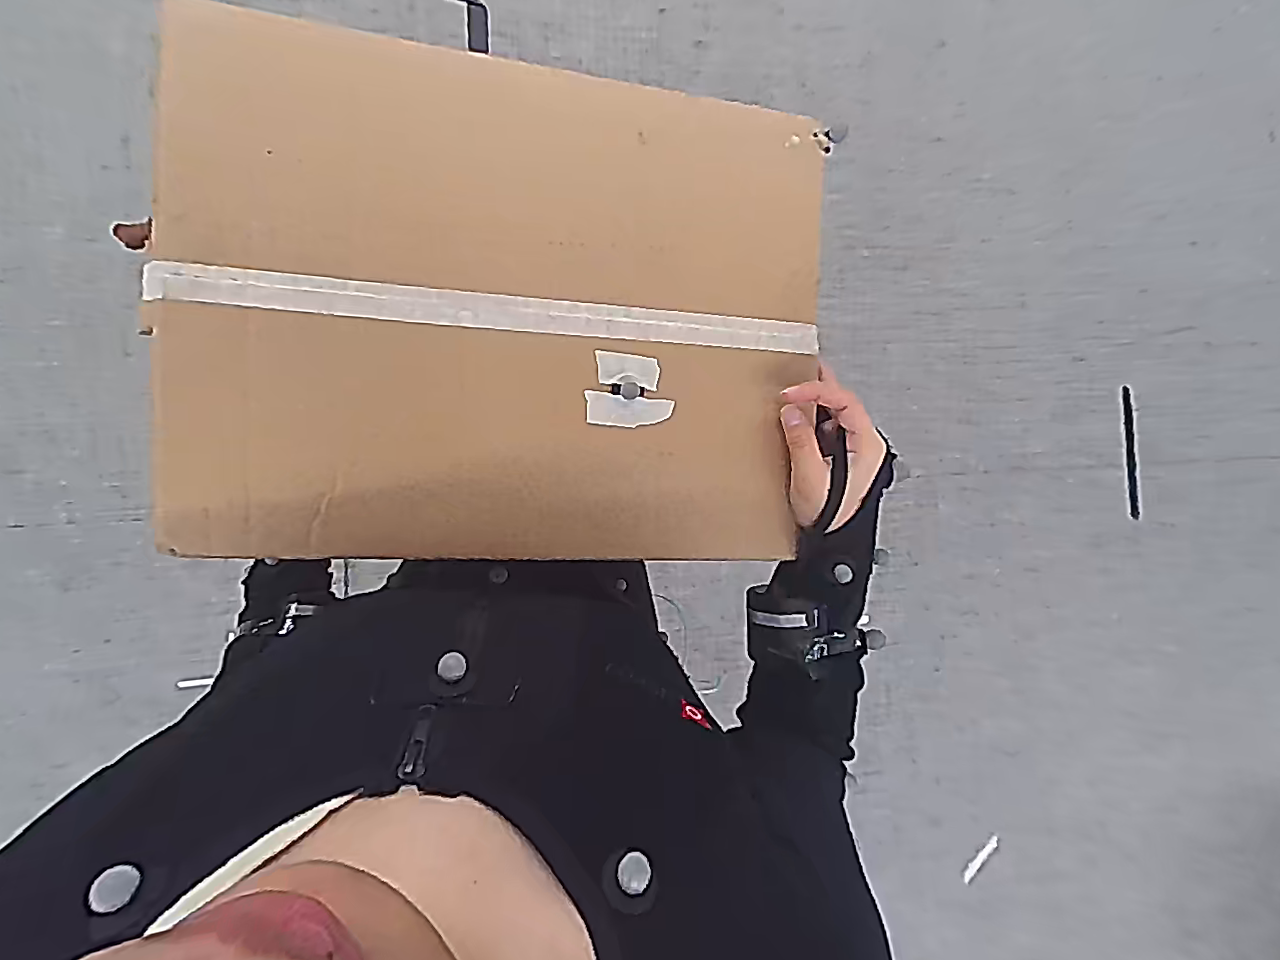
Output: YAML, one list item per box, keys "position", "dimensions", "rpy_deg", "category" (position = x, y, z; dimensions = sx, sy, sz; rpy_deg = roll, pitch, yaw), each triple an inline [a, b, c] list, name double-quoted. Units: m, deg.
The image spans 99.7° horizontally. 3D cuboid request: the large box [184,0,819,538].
- position: [-0.102, -0.123, 0.498]
  dimensions: [0.408, 0.320, 0.320]
  rpy_deg: [2, 93, -13]
  category: "large box"
